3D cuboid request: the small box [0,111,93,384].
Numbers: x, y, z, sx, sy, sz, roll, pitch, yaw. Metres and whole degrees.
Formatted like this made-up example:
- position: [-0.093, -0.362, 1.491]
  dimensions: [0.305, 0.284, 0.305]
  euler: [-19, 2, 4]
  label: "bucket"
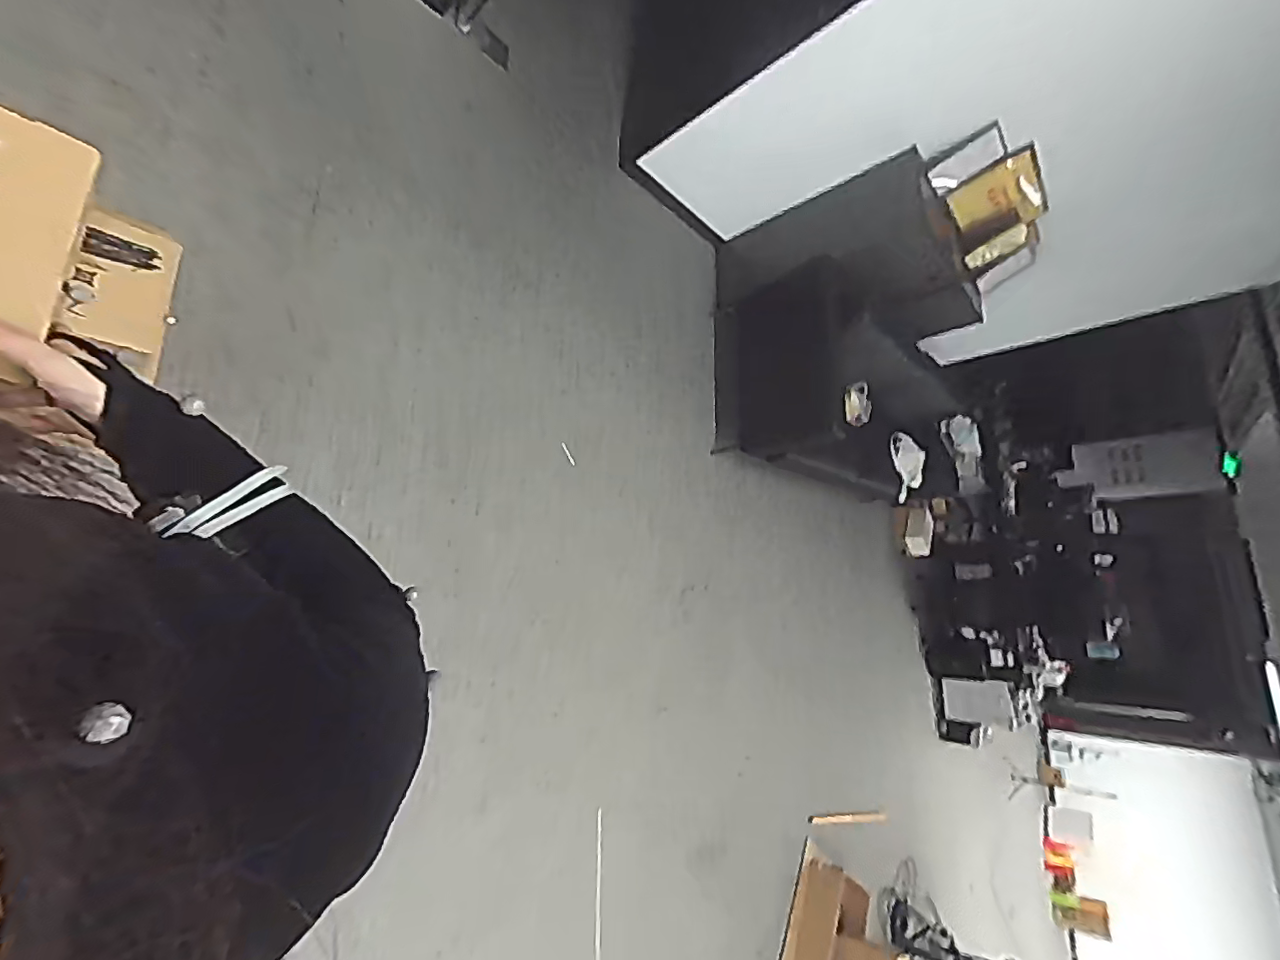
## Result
- position: [-0.519, -0.173, 0.377]
  dimensions: [0.168, 0.176, 0.179]
  euler: [16, 84, -48]
  label: "small box"
